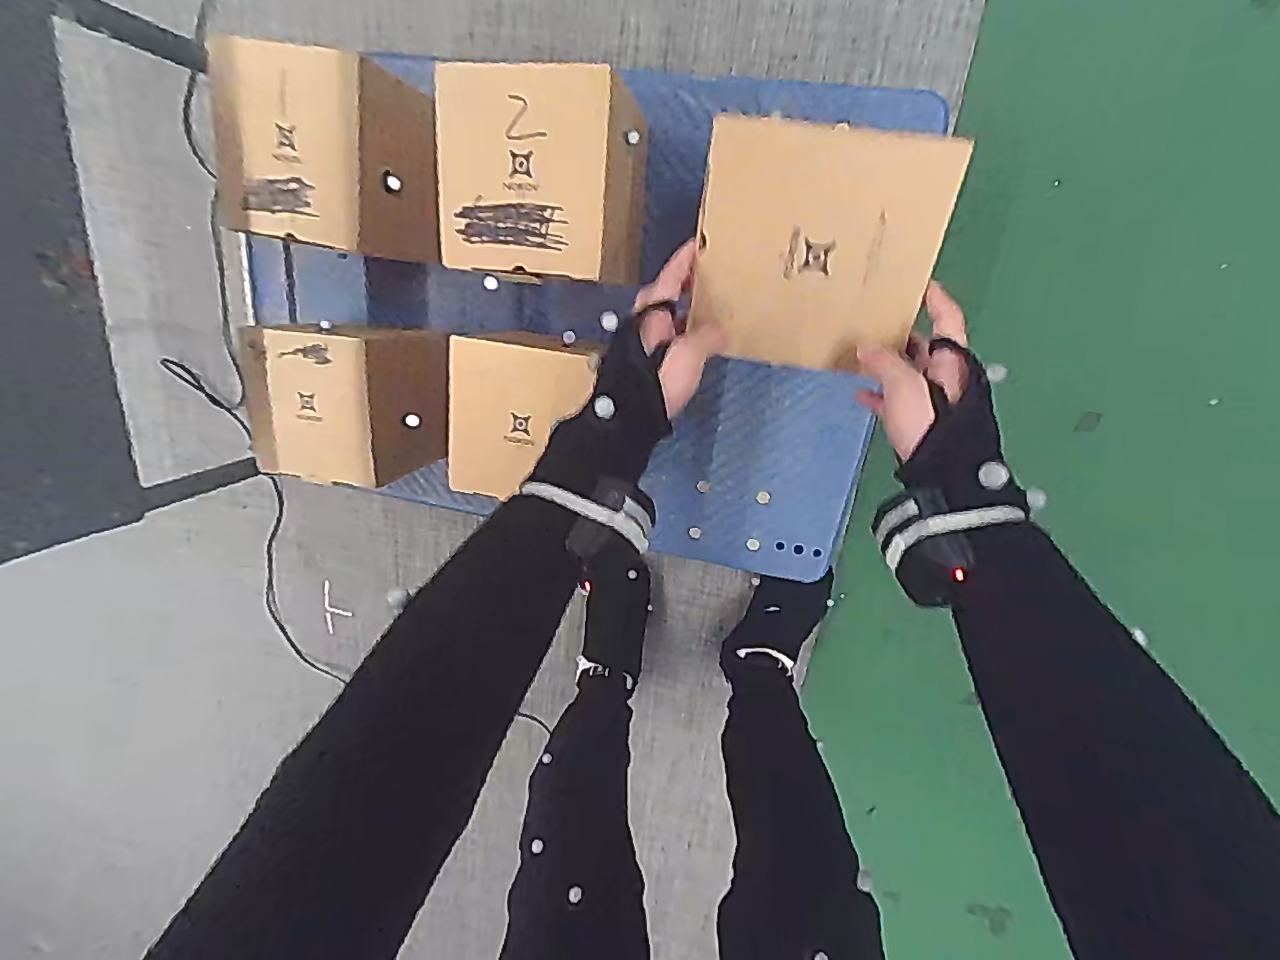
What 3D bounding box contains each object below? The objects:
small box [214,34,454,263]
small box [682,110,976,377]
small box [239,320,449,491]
[{"bbox_3d":[-0.327,-0.352,0.609,0.168,0.176,0.179,13,109,8],"label":"small box"},{"bbox_3d":[0.143,-0.203,0.473,0.179,0.176,0.168,11,118,6],"label":"small box"},{"bbox_3d":[-0.361,-0.105,0.694,0.168,0.176,0.179,9,109,9],"label":"small box"}]
